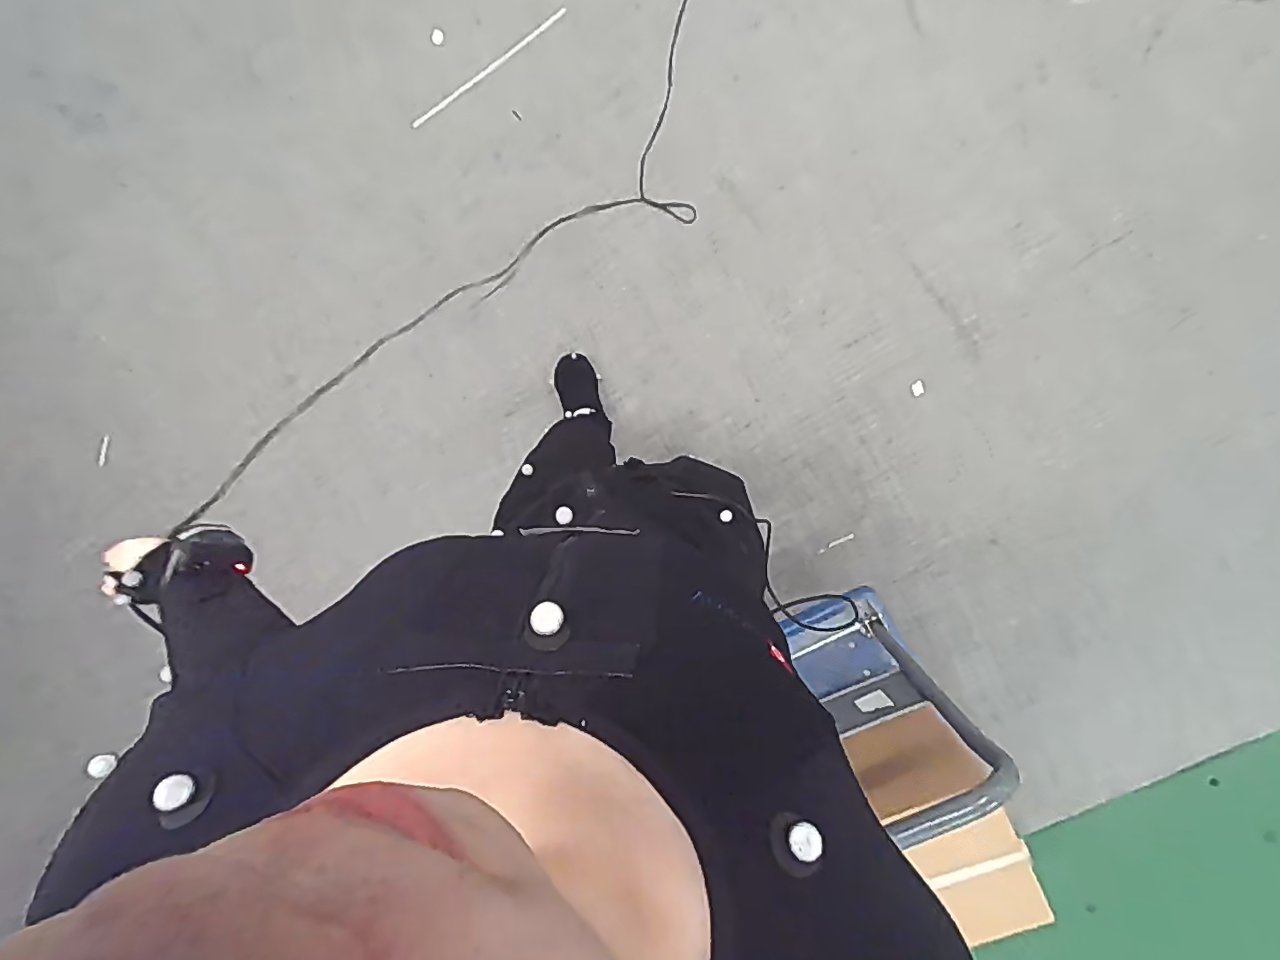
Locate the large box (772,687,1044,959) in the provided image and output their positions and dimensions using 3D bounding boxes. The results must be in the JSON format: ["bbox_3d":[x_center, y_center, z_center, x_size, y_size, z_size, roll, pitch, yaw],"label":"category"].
[{"bbox_3d":[0.559,0.737,1.210,0.408,0.320,0.320,-26,93,9],"label":"large box"}]
